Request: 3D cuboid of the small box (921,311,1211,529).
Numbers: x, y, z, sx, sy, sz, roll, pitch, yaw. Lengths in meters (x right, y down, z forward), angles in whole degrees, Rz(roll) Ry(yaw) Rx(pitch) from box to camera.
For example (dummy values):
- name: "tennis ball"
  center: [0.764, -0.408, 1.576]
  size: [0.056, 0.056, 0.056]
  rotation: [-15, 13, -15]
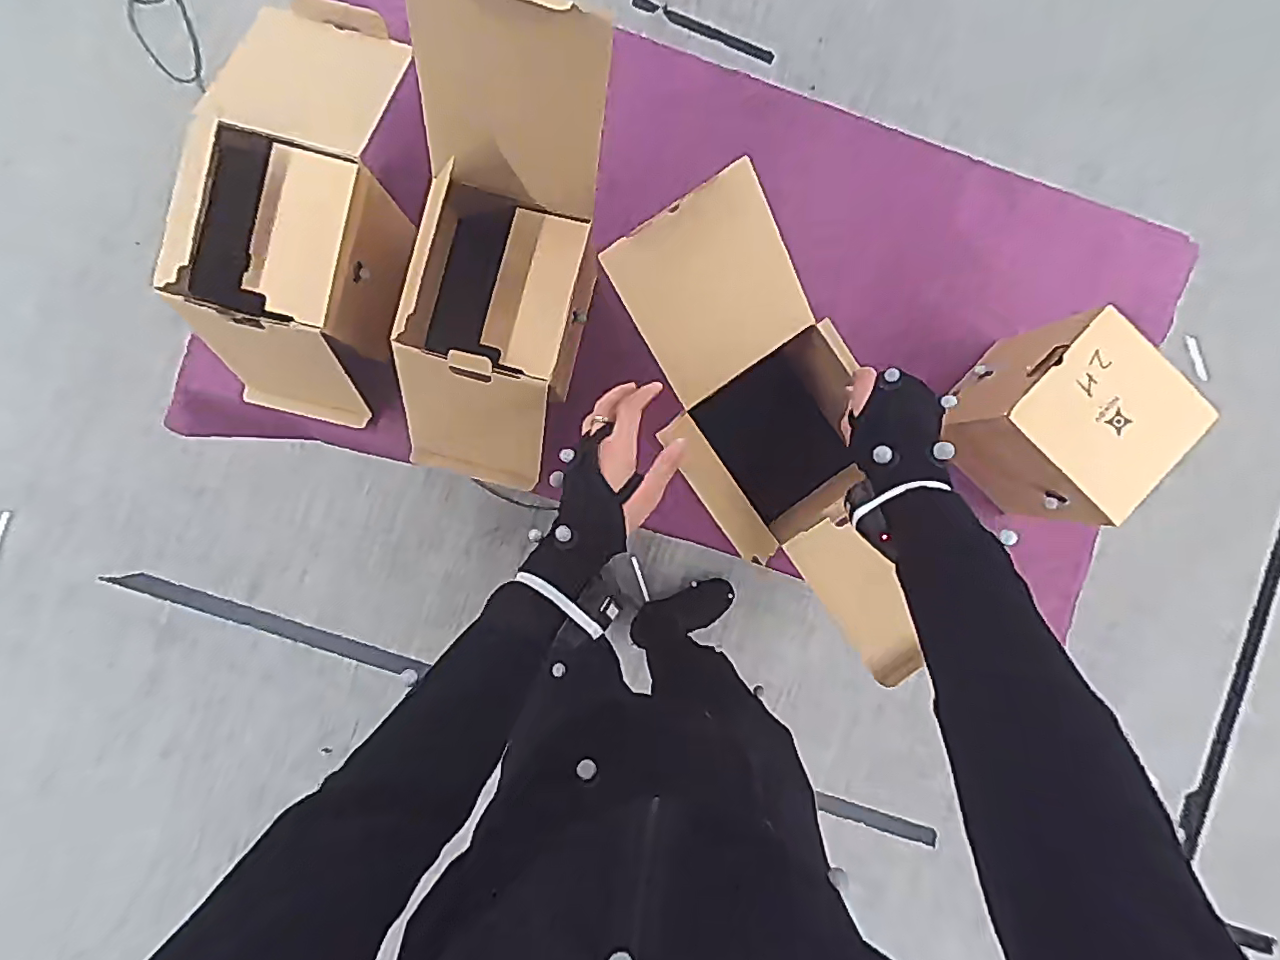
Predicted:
- name: "small box"
  center: [0.491, -0.066, 0.652]
  size: [0.179, 0.176, 0.168]
  rotation: [44, 89, -2]
